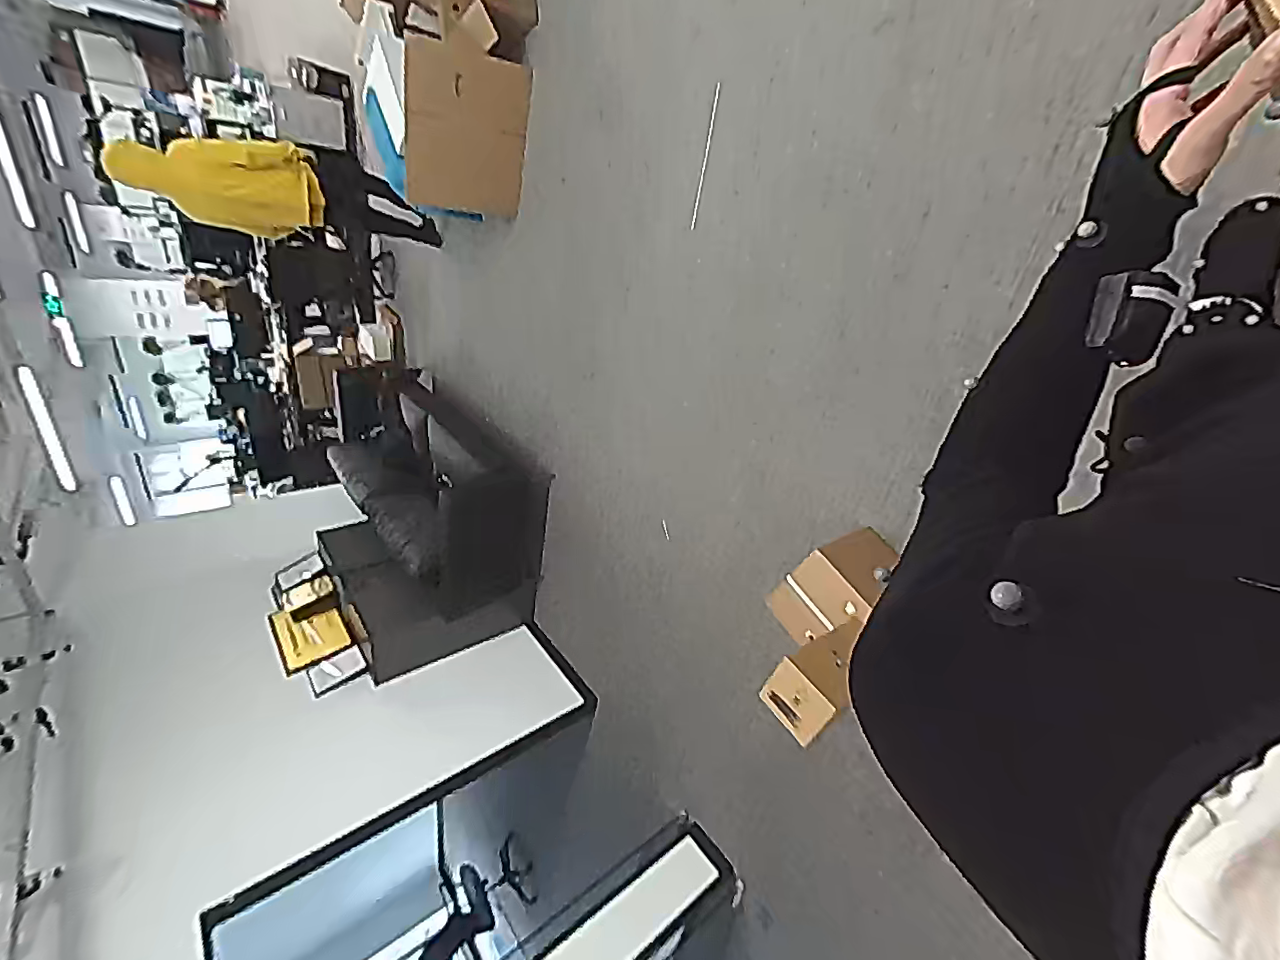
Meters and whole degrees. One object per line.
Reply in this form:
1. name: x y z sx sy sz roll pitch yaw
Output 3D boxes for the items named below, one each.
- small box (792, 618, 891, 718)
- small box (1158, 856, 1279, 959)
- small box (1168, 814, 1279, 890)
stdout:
1. small box: 0.566 0.515 1.505 0.168 0.176 0.179 46 131 33
2. small box: 0.949 0.755 0.851 0.168 0.176 0.179 -6 95 50
3. small box: 1.075 0.732 0.952 0.179 0.176 0.168 -9 94 51
